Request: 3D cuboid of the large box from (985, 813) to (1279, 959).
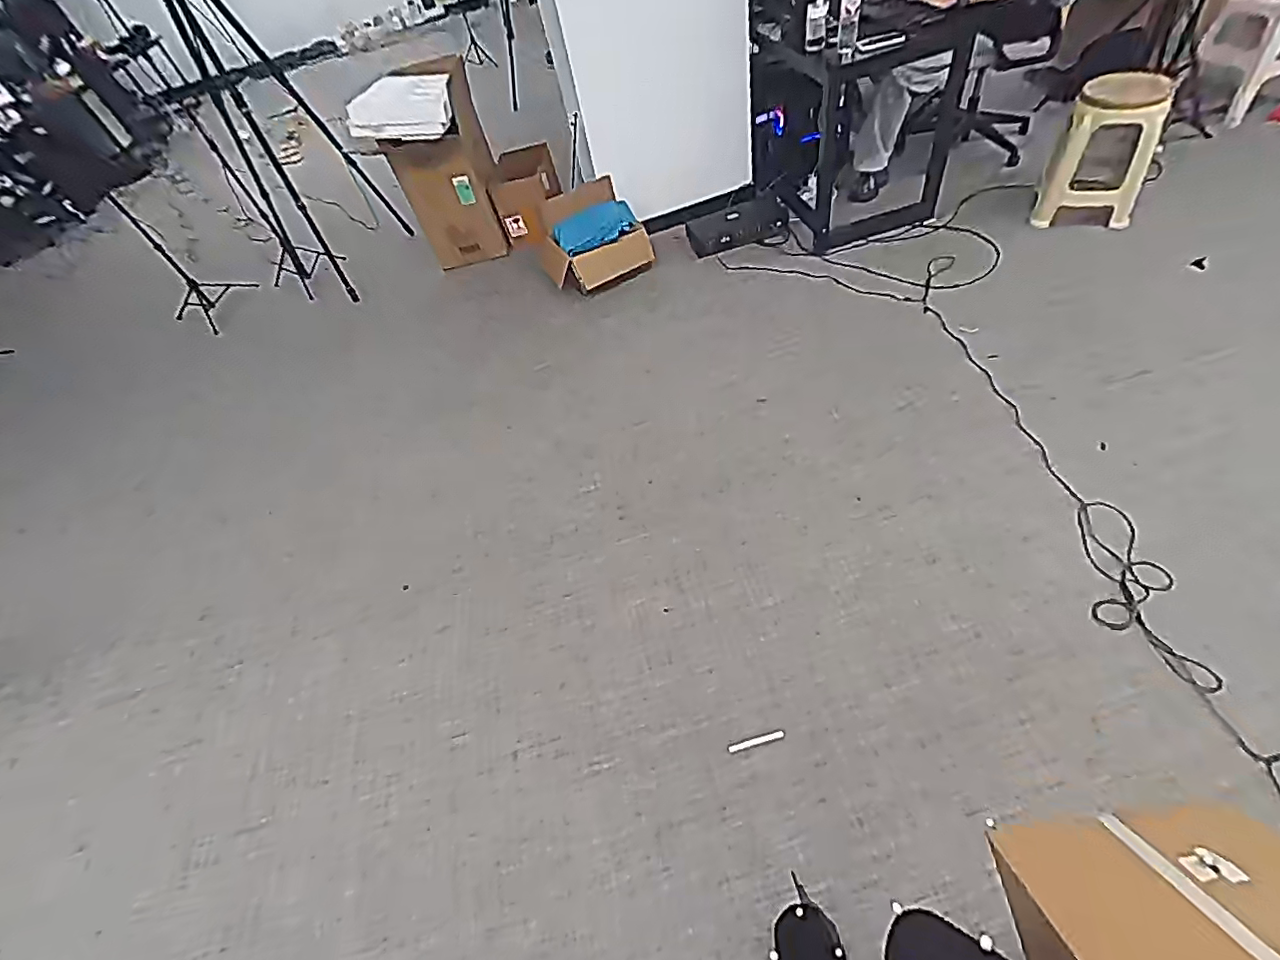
[{"bbox_3d":[0.656,0.628,0.569,0.320,0.408,0.320,-14,81,10],"label":"large box"}]
